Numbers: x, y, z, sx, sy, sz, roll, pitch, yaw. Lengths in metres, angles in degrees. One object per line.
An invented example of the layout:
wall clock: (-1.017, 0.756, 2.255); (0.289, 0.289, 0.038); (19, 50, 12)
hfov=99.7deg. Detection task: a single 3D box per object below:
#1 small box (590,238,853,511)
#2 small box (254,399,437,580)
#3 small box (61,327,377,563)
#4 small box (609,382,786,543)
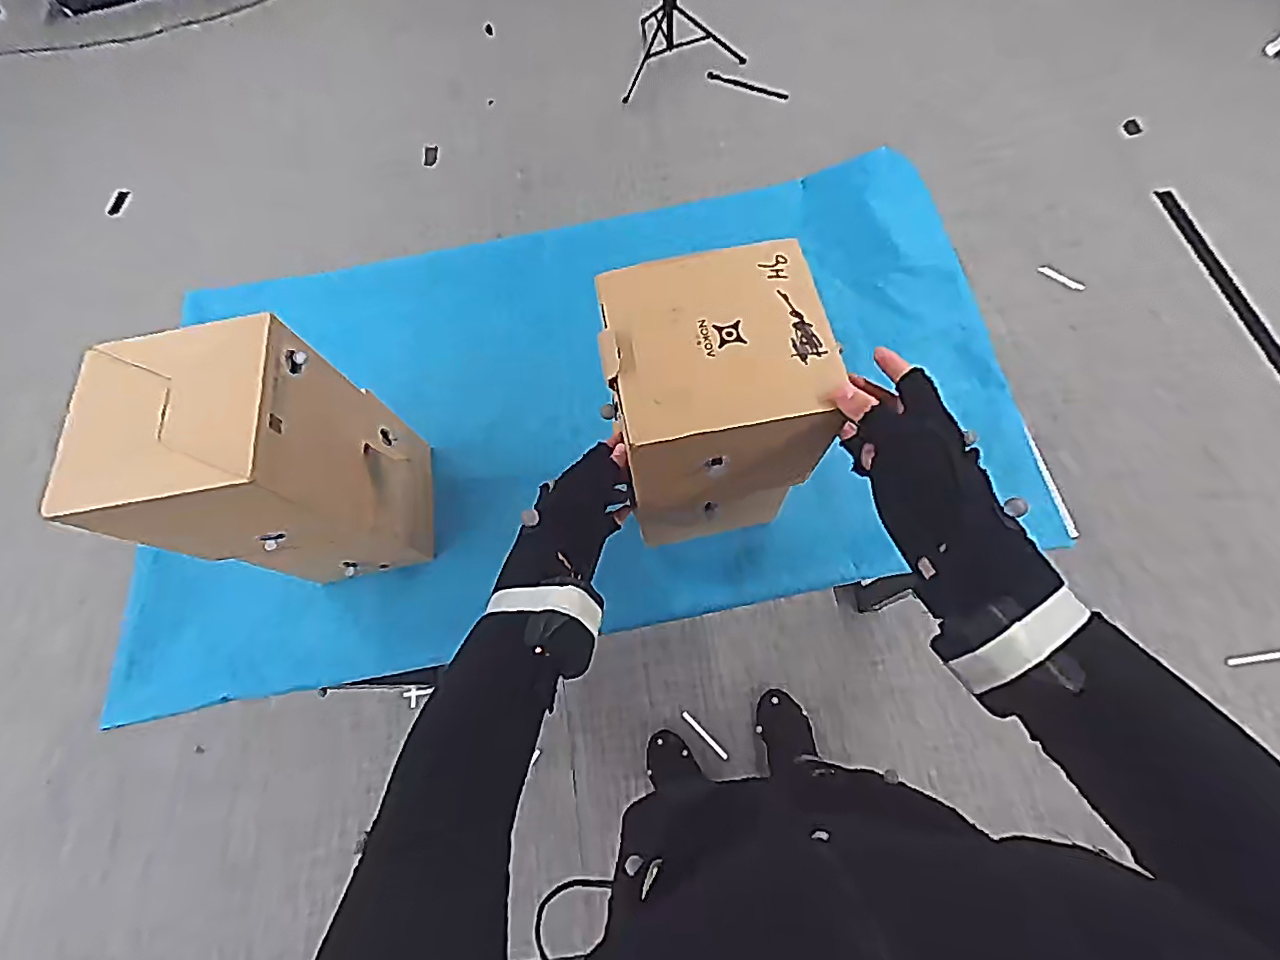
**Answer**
small box: (0.064, -0.084, 0.503); (0.179, 0.176, 0.168); (-14, 69, -1)
small box: (-0.376, 0.021, 0.692); (0.168, 0.176, 0.179); (-9, 71, 5)
small box: (-0.388, -0.026, 0.532); (0.179, 0.176, 0.168); (-10, 69, 2)
small box: (0.070, -0.030, 0.659); (0.179, 0.176, 0.168); (-11, 69, 2)
